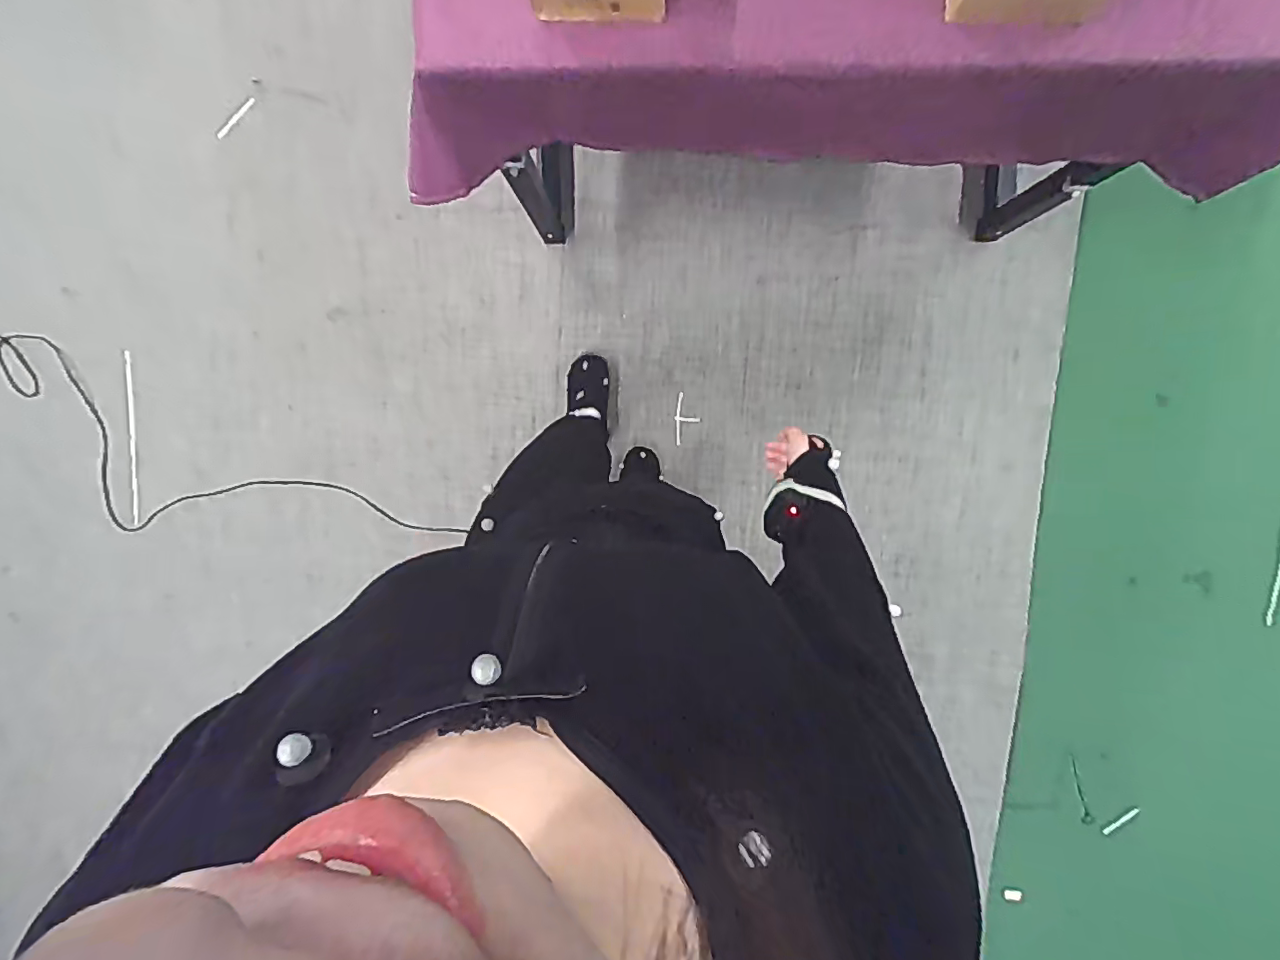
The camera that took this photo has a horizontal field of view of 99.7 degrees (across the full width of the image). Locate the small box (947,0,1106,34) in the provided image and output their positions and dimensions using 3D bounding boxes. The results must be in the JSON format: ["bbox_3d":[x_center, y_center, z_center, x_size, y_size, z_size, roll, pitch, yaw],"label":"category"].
[{"bbox_3d":[0.473,-0.642,0.601,0.179,0.176,0.168,3,95,2],"label":"small box"}]

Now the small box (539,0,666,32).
[{"bbox_3d":[-0.048,-0.667,0.616,0.168,0.176,0.179,2,95,1],"label":"small box"}]
